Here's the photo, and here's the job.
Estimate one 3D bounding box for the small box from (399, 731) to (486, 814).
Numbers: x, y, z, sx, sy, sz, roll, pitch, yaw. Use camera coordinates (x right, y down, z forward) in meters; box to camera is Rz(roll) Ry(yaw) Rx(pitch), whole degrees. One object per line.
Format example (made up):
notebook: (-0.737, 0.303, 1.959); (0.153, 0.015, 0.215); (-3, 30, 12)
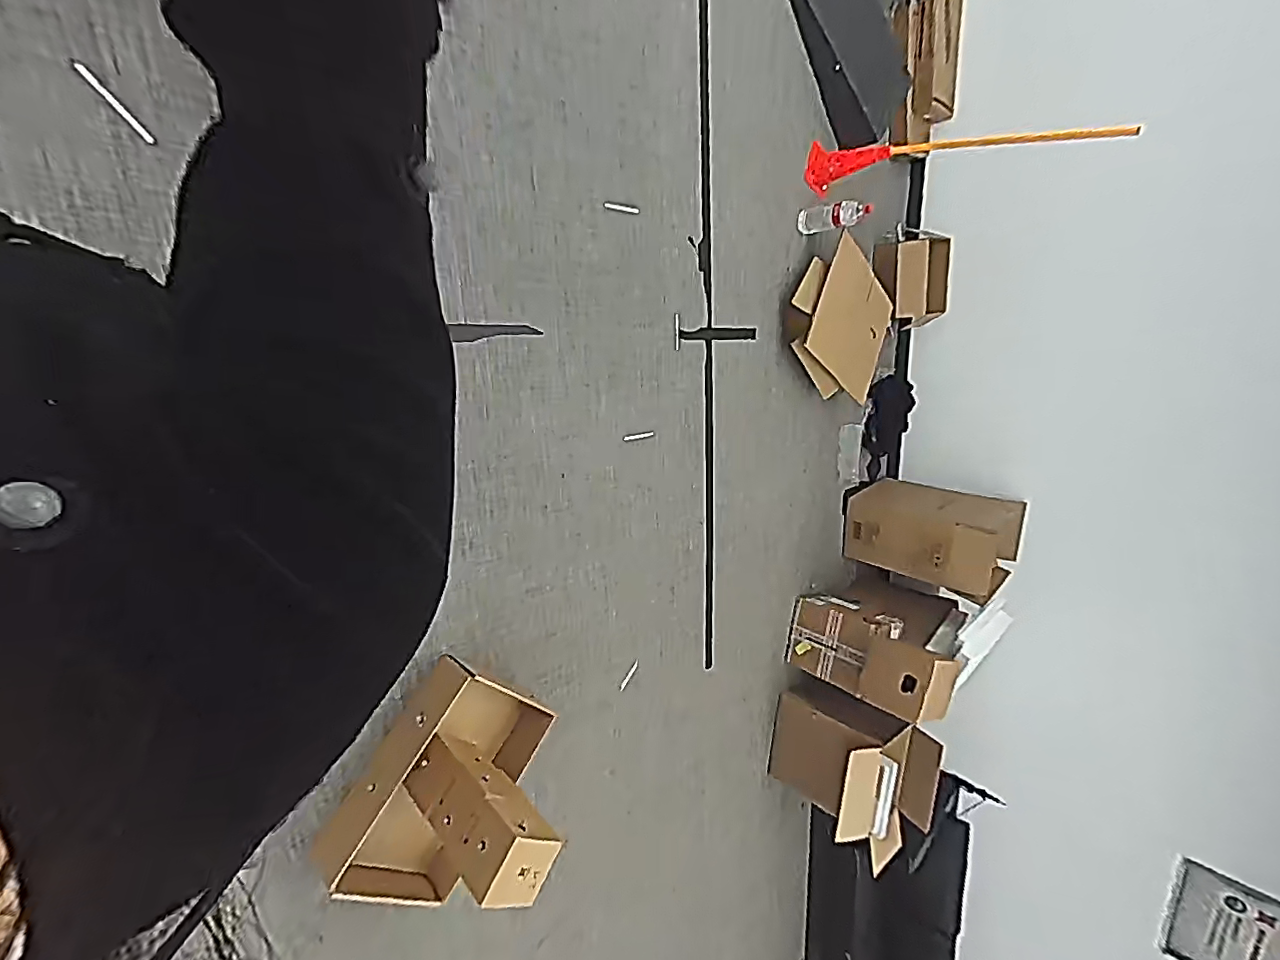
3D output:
small box: (-0.580, 0.883, 1.622); (0.179, 0.176, 0.168); (47, 67, -39)

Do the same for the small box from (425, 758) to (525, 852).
small box: (-0.465, 0.908, 1.510); (0.179, 0.176, 0.168); (43, 71, -42)

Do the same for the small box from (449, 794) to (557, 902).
small box: (-0.355, 0.941, 1.391); (0.179, 0.176, 0.168); (42, 73, -41)
